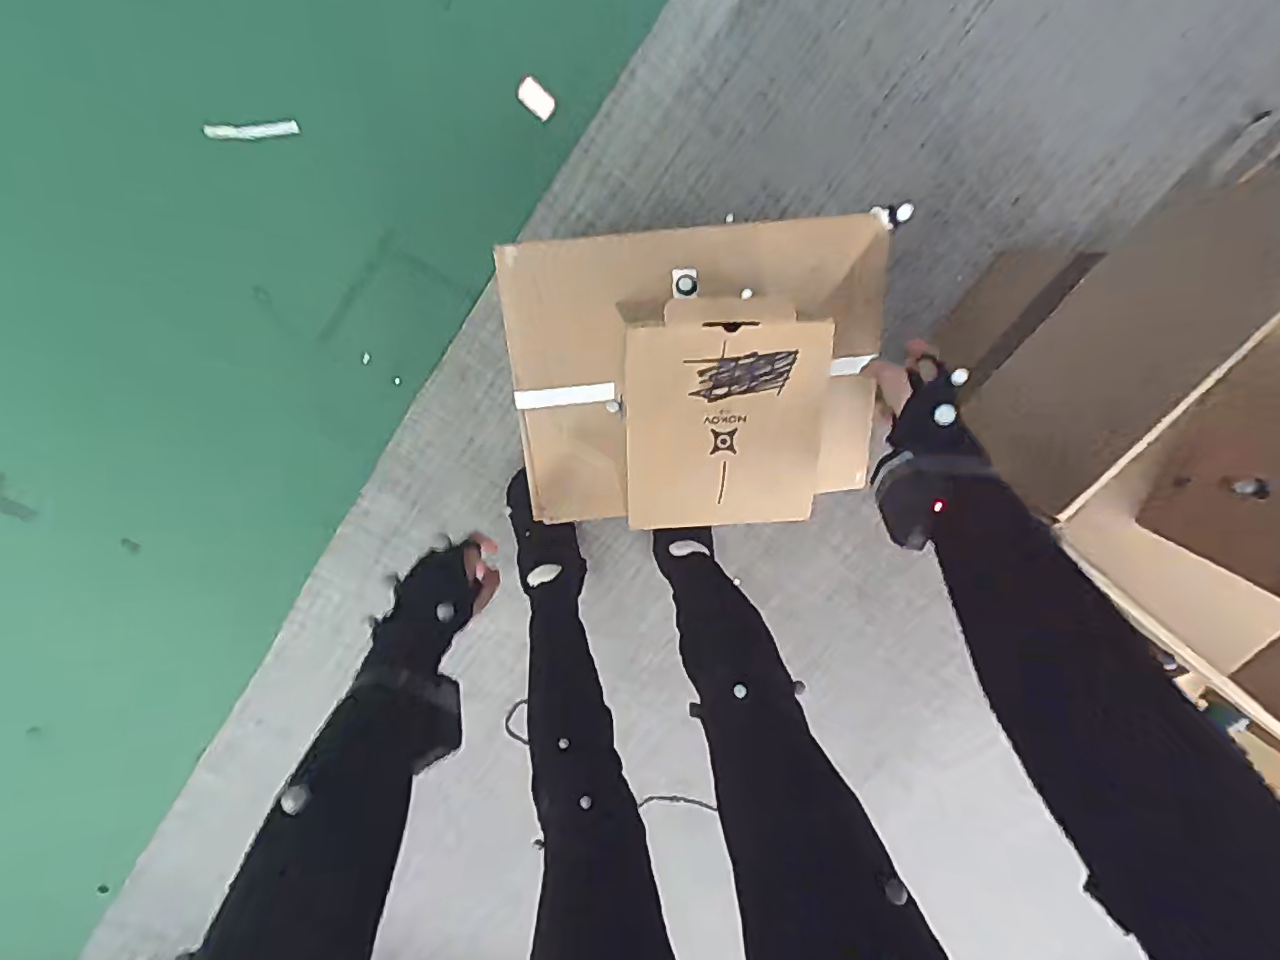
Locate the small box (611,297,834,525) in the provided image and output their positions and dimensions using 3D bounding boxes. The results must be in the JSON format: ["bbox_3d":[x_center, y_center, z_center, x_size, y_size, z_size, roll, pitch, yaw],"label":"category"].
[{"bbox_3d":[0.060,-0.076,0.507,0.168,0.176,0.179,-3,114,-4],"label":"small box"}]

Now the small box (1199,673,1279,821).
[{"bbox_3d":[1.030,0.412,0.823,0.179,0.176,0.168,-20,114,2],"label":"small box"}]
